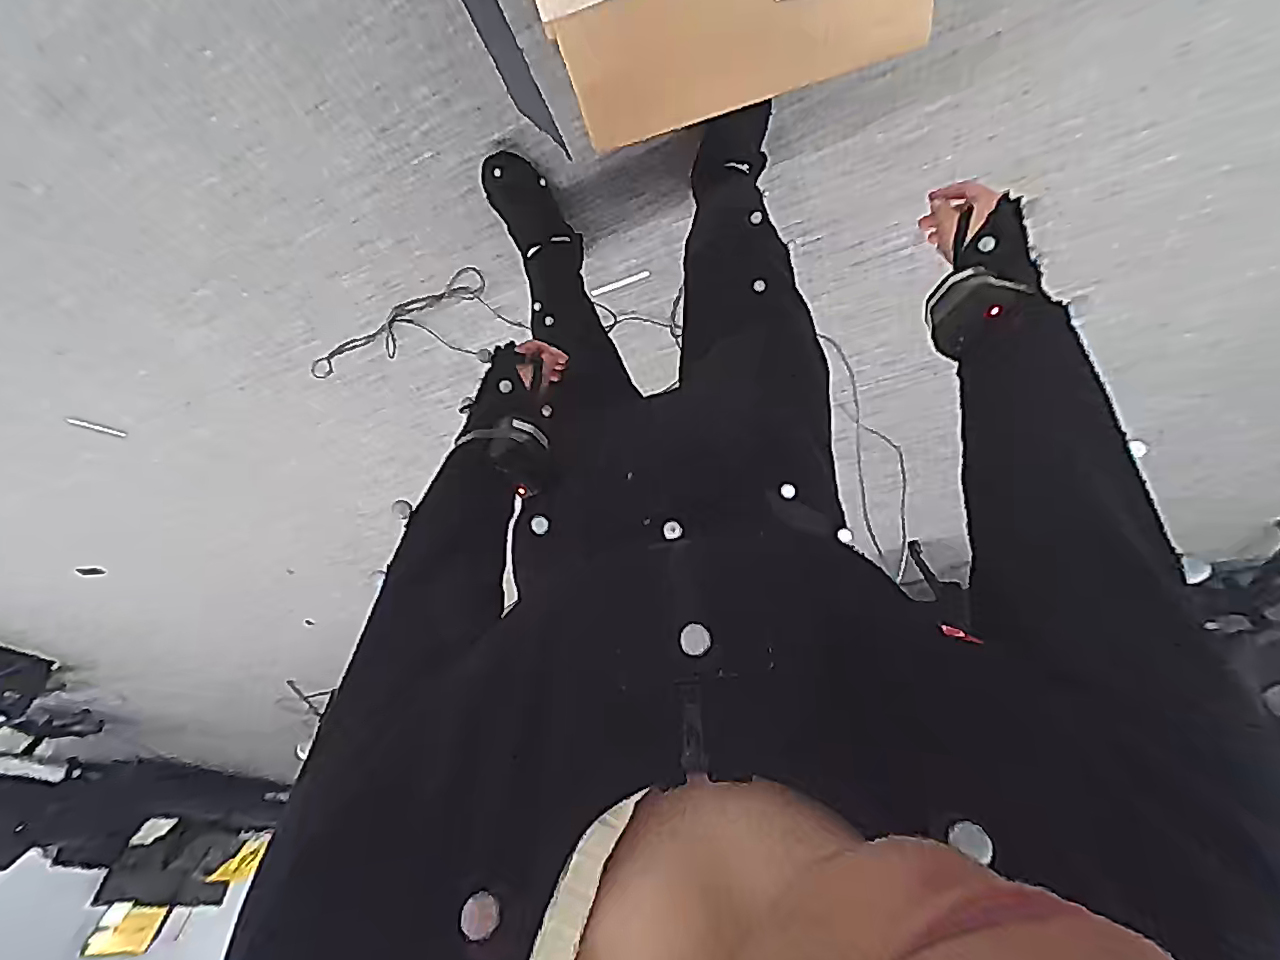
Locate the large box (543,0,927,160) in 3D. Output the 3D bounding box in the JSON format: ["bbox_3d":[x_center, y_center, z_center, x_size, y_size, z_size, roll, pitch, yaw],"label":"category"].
[{"bbox_3d":[0.085,-0.660,0.644,0.408,0.320,0.320,-11,139,13],"label":"large box"}]
